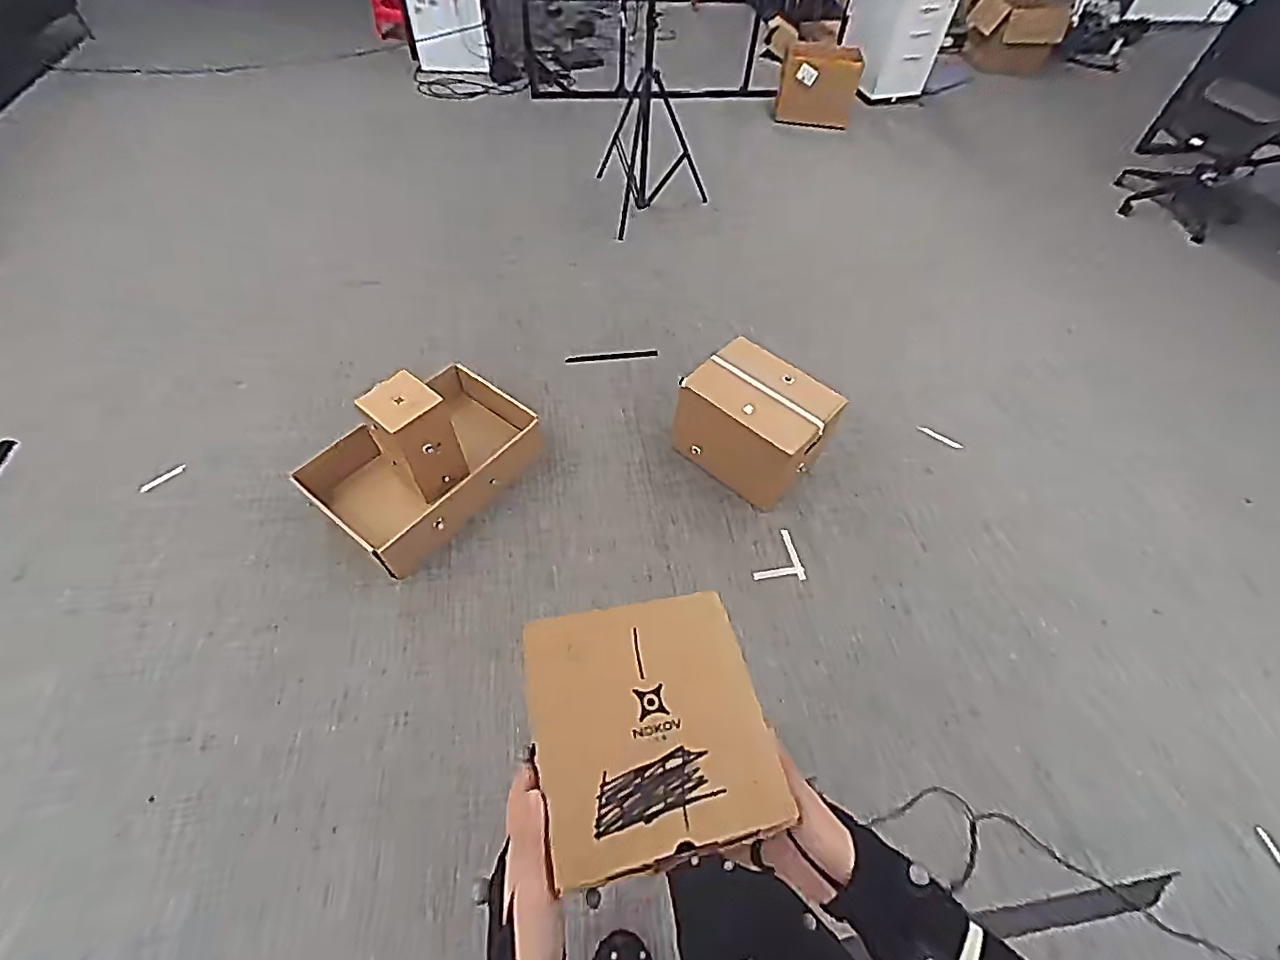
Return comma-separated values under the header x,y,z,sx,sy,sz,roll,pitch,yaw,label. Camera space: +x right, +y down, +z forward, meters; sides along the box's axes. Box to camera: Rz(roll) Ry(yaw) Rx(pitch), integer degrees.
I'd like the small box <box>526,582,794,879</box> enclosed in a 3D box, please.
x,y,z,sx,sy,sz,roll,pitch,yaw,label
-0.003,0.211,0.455,0.168,0.176,0.179,-6,53,-16,small box

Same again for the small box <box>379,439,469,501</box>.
x,y,z,sx,sy,sz,roll,pitch,yaw,label
-0.652,-0.068,1.645,0.179,0.176,0.168,36,61,21,small box

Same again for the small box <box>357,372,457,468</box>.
x,y,z,sx,sy,sz,roll,pitch,yaw,label
-0.645,-0.163,1.514,0.179,0.176,0.168,35,61,19,small box
